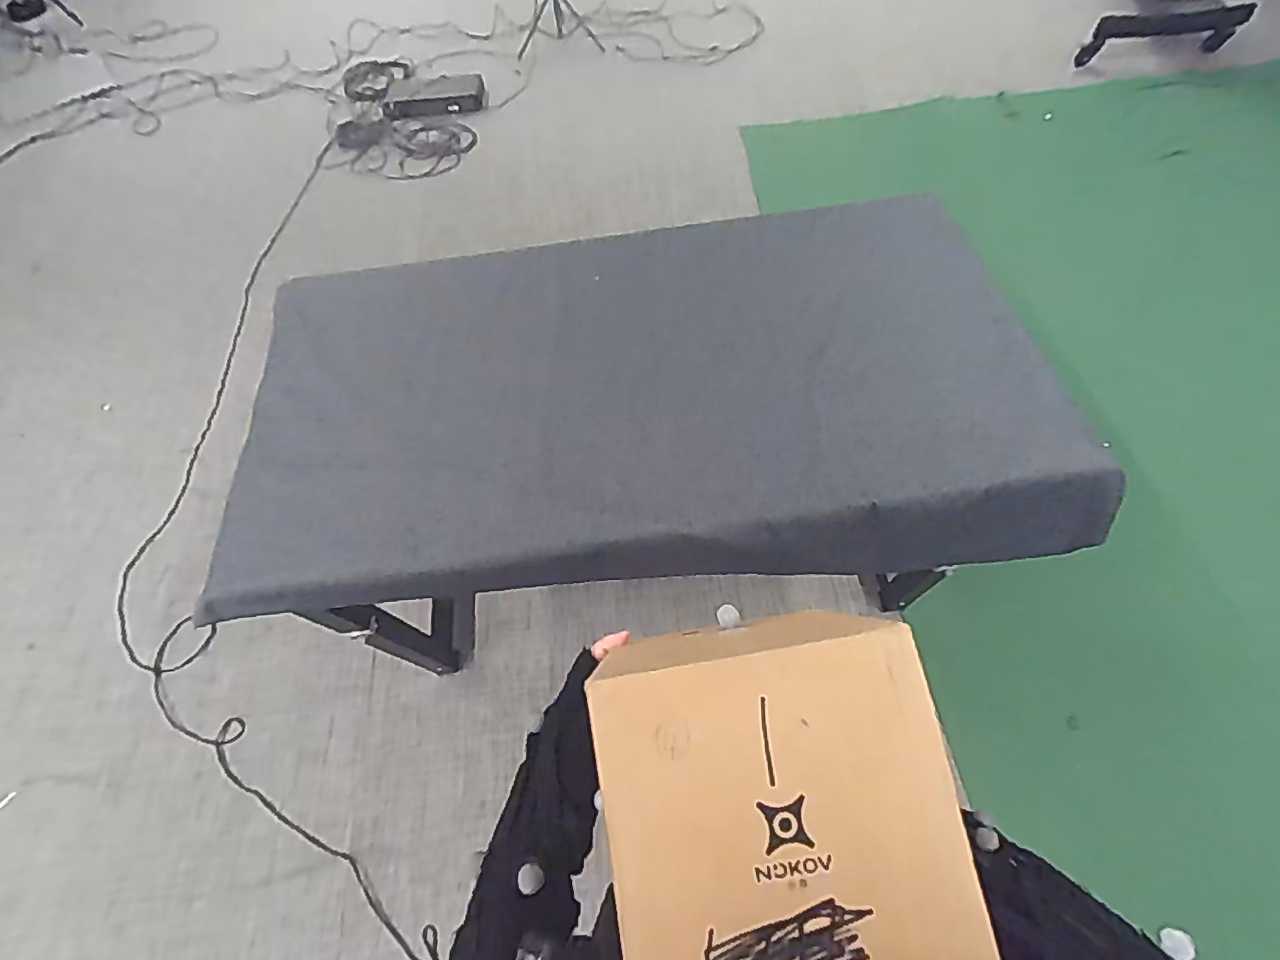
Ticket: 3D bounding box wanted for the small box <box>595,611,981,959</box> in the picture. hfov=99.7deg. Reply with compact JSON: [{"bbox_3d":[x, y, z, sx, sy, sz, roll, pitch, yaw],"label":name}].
[{"bbox_3d":[0.073,0.185,0.342,0.168,0.176,0.179,-9,78,1],"label":"small box"}]
